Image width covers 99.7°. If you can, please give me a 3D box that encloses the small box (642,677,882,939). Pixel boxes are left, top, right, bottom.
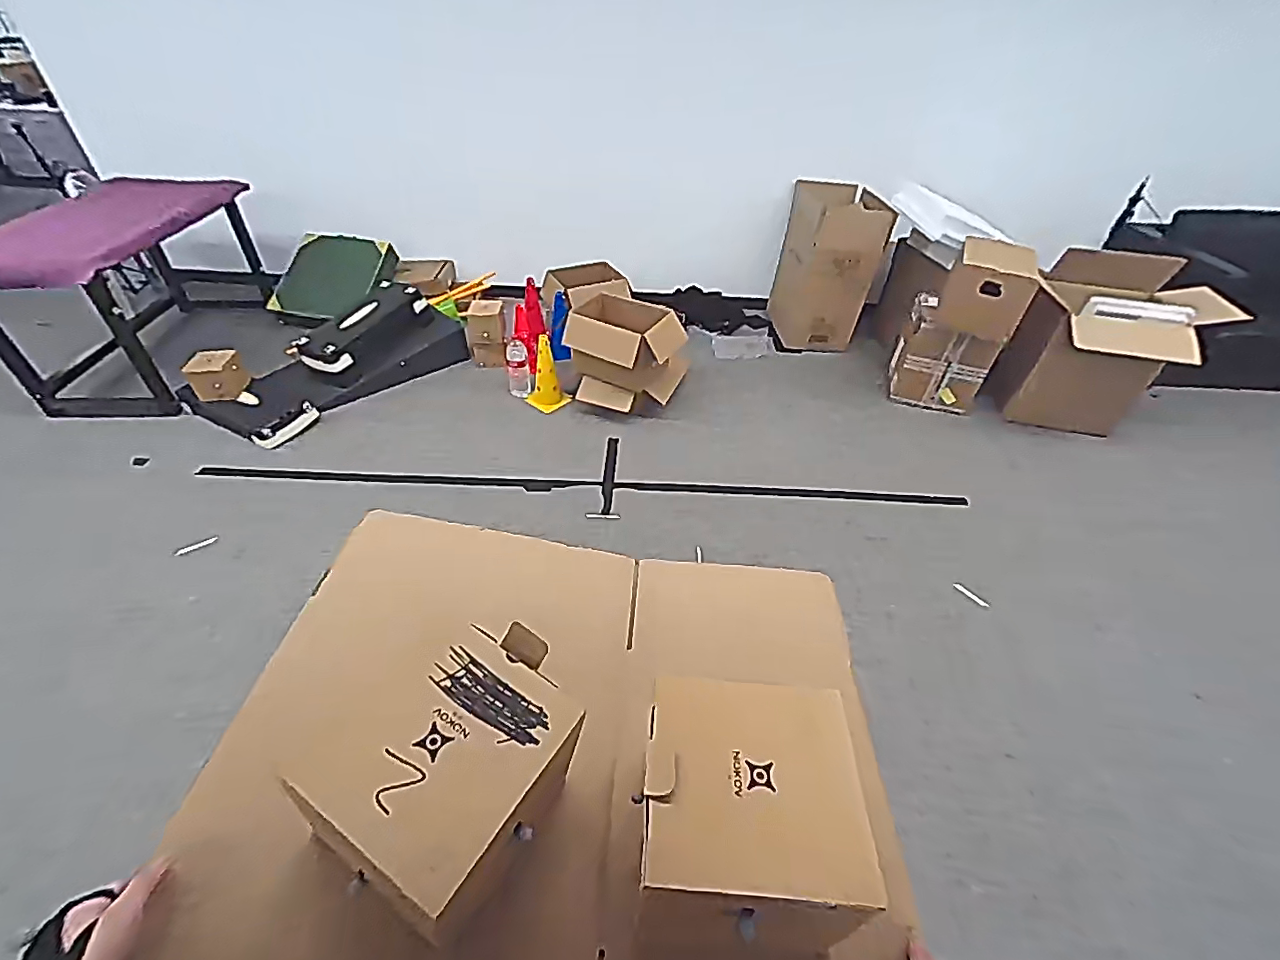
[{"bbox_3d":[0.095,0.308,0.509,0.179,0.176,0.168,3,41,2],"label":"small box"}]
